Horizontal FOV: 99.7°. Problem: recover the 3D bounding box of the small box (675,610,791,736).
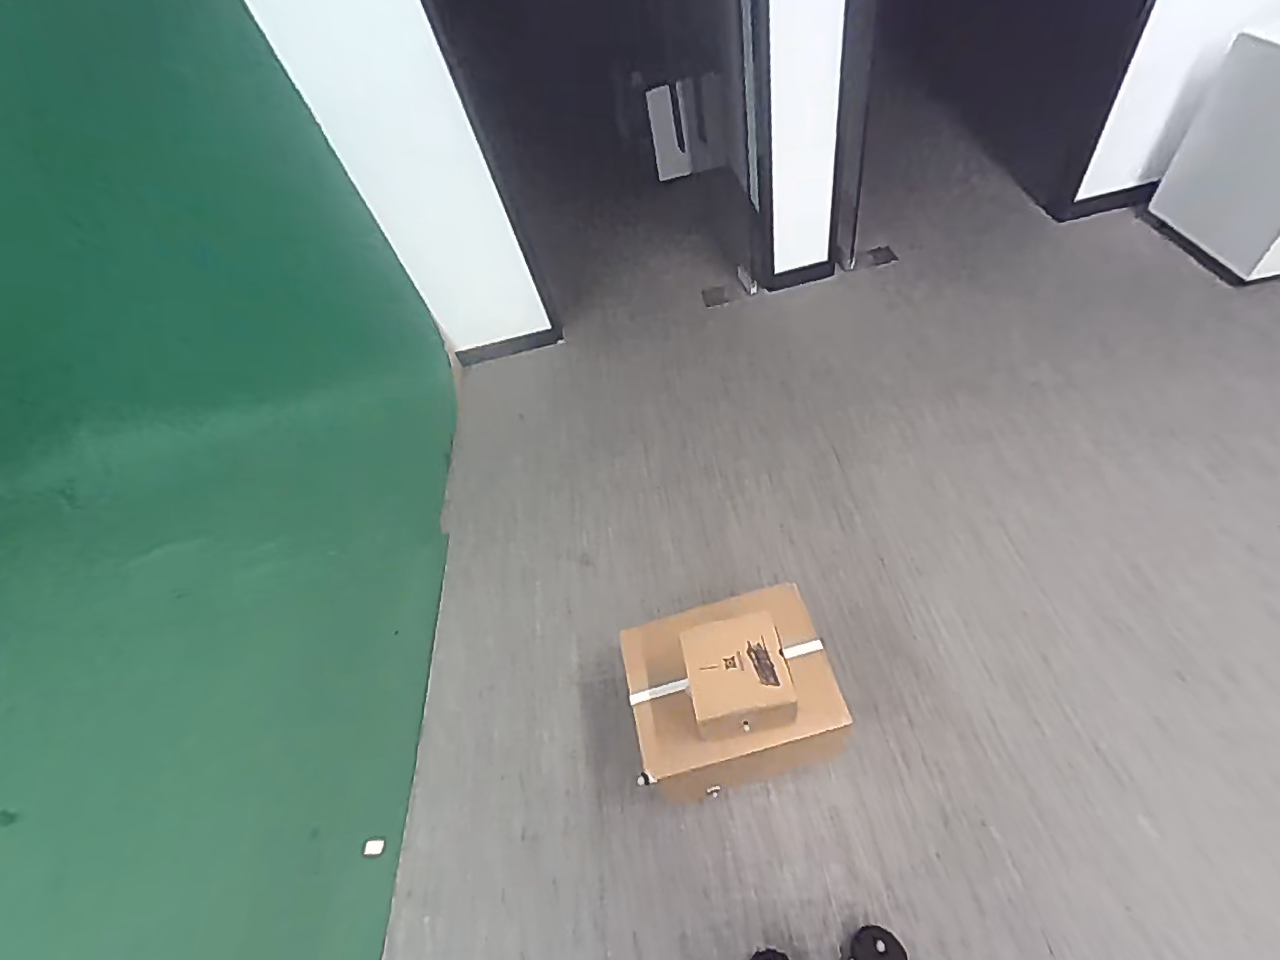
[{"bbox_3d":[0.174,0.368,1.022,0.179,0.176,0.168,-14,51,5],"label":"small box"}]
